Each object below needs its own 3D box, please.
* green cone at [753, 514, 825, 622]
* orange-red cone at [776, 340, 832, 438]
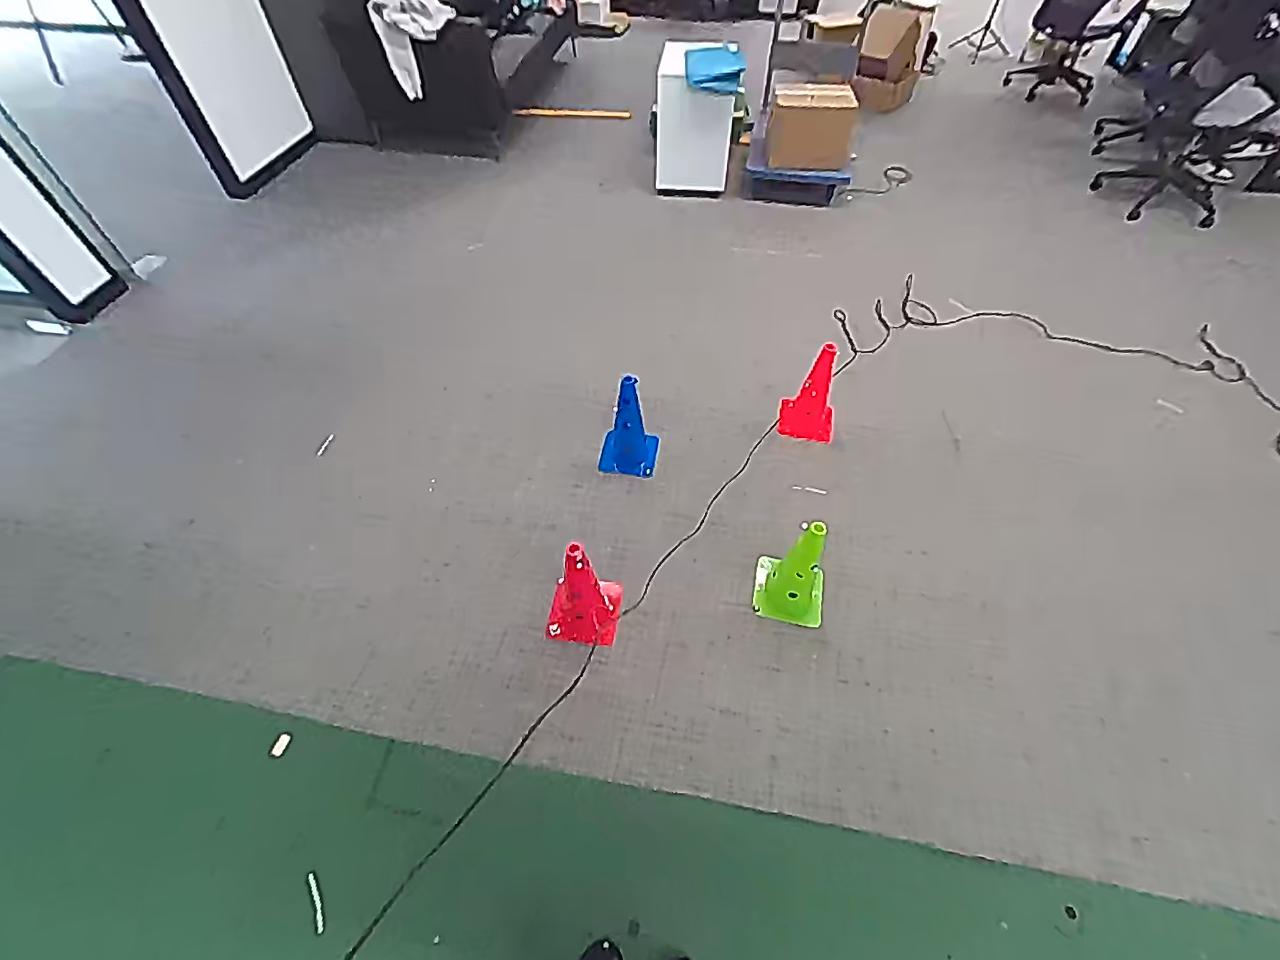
[{"bbox_3d":[0.448,0.216,1.494,0.200,0.368,0.202,10,52,7],"label":"green cone"},{"bbox_3d":[0.622,-0.346,1.929,0.198,0.360,0.199,11,55,10],"label":"orange-red cone"}]
